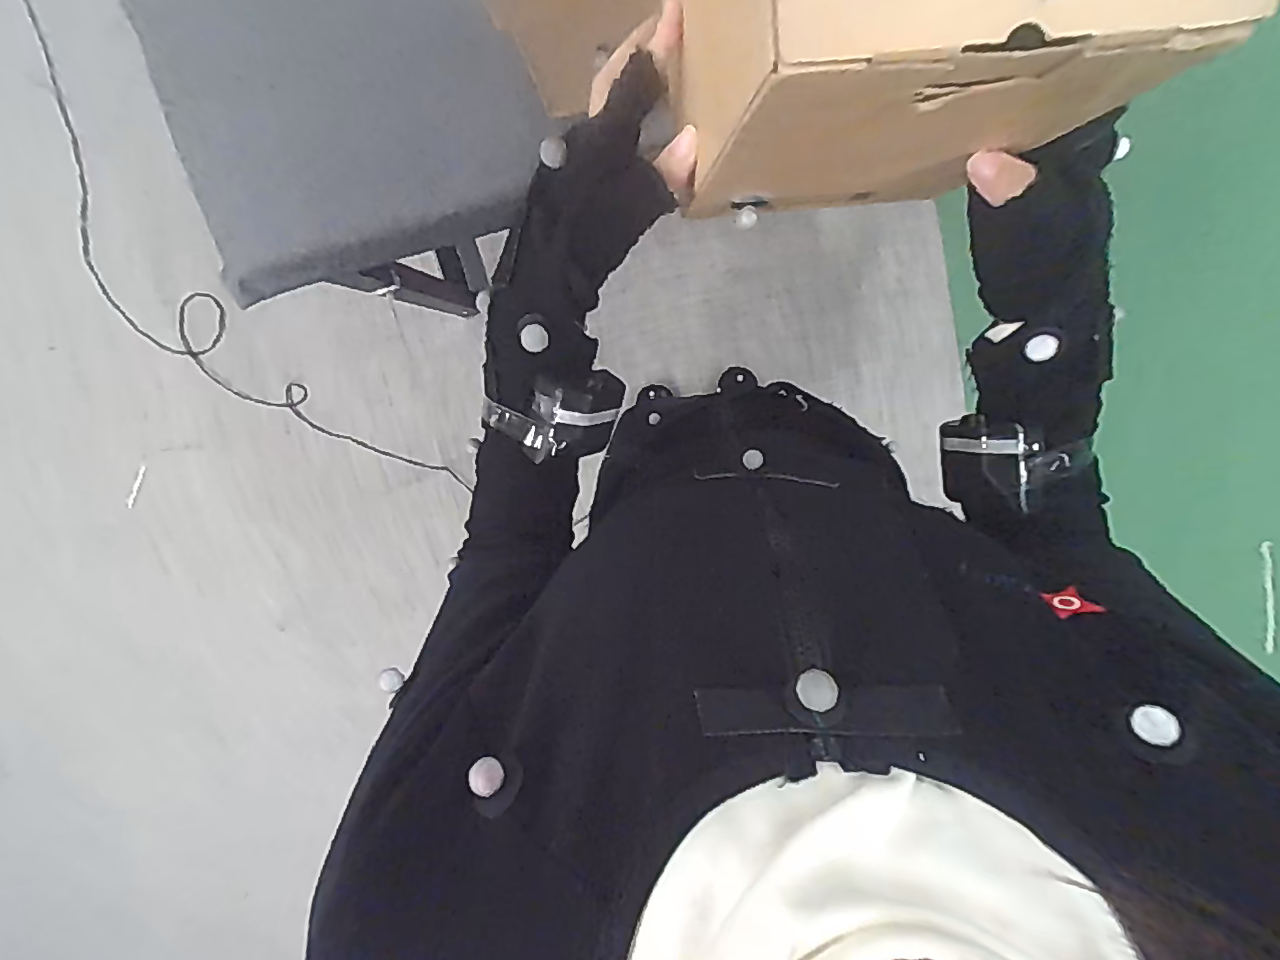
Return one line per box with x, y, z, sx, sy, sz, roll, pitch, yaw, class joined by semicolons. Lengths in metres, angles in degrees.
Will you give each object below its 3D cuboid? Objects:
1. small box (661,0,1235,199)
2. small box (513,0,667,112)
0.103;-0.241;0.240;0.168;0.176;0.179;-7;100;-5;small box
-0.038;-0.497;0.526;0.179;0.176;0.168;-10;99;5;small box
